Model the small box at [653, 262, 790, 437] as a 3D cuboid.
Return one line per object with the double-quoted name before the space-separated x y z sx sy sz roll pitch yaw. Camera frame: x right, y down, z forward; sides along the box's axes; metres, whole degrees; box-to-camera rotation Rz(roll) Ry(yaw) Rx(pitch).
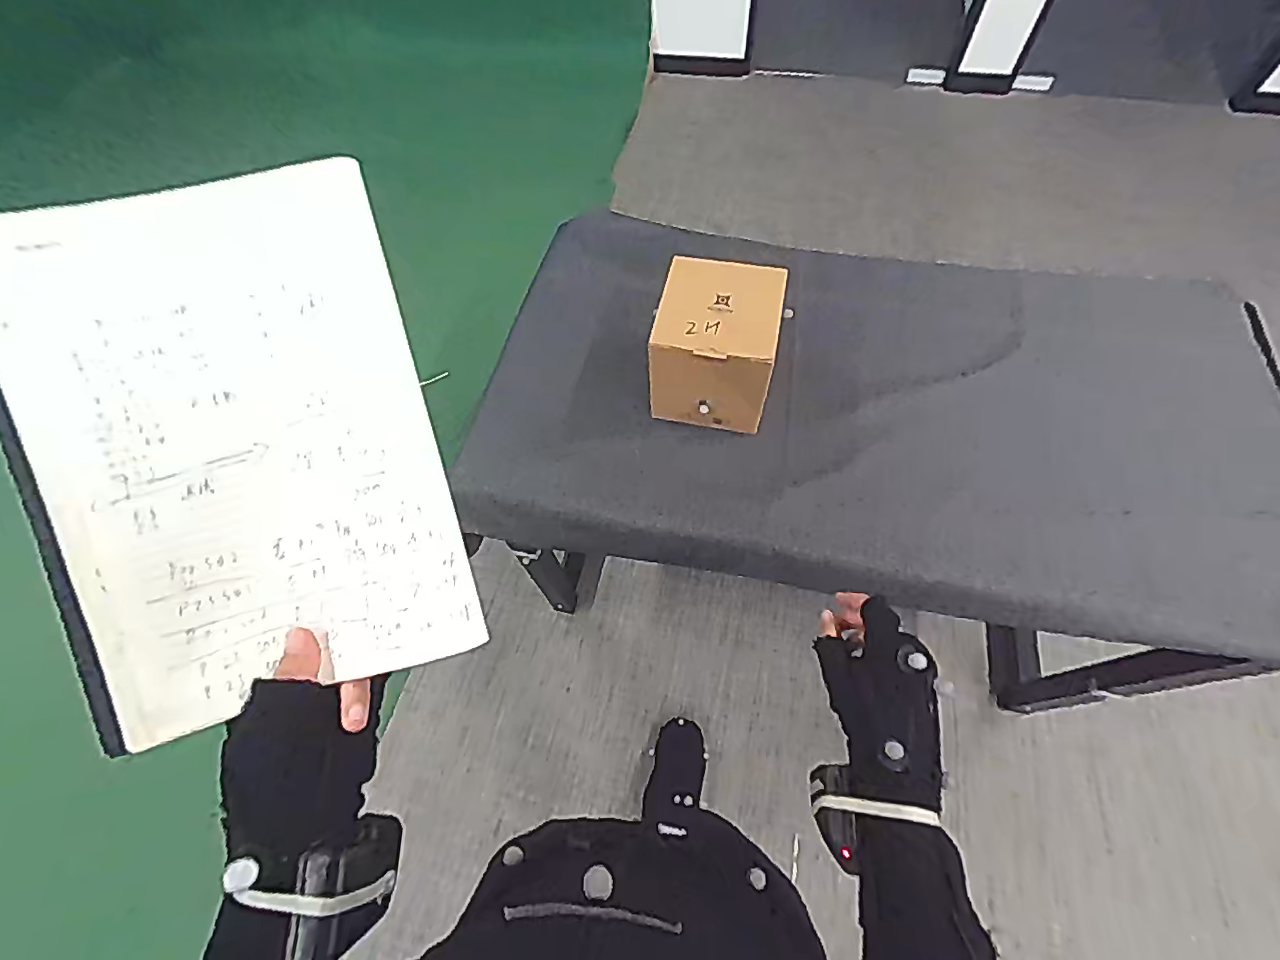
"small box" 0.117 -0.190 0.806 0.168 0.176 0.179 10 61 9
